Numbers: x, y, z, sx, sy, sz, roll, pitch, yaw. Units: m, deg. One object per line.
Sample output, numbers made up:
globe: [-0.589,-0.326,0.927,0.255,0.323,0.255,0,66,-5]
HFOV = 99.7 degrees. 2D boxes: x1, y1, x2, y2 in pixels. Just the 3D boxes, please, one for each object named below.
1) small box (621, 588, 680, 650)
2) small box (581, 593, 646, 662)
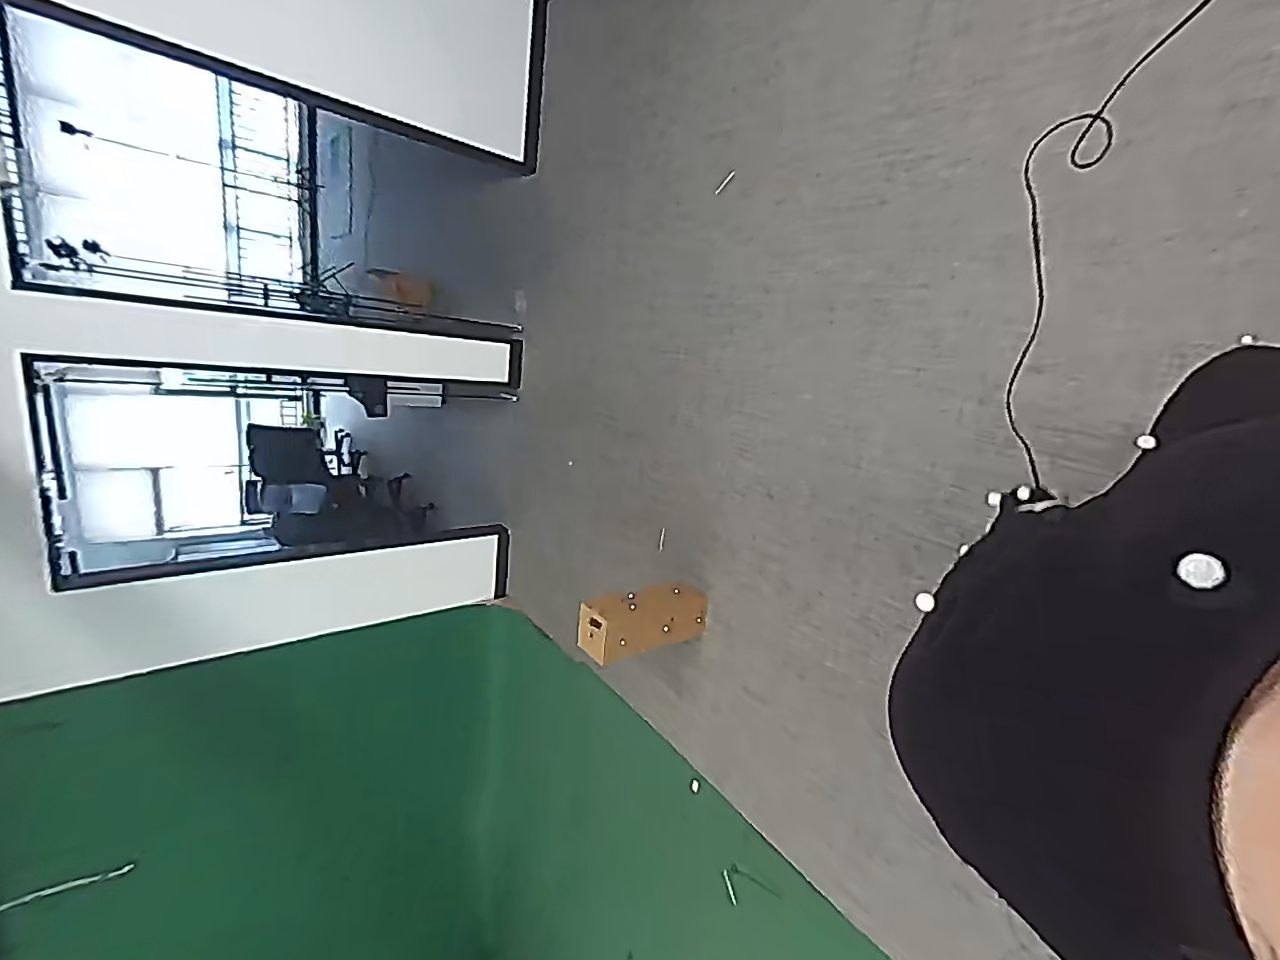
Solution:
small box: [0.030,0.529,2.089,0.179,0.176,0.168,18,107,48]
small box: [-0.094,0.531,1.980,0.168,0.176,0.179,21,110,48]
